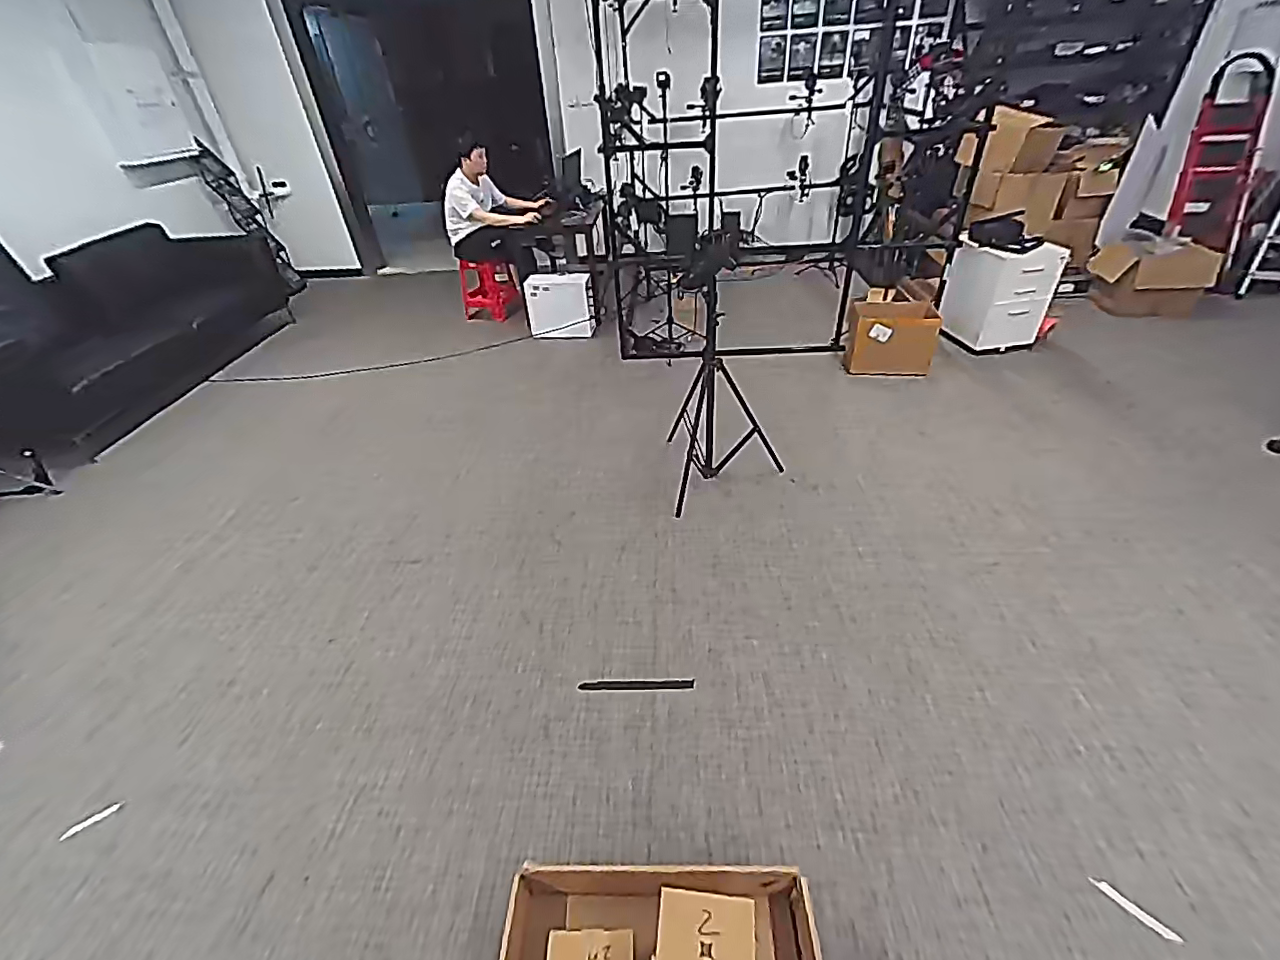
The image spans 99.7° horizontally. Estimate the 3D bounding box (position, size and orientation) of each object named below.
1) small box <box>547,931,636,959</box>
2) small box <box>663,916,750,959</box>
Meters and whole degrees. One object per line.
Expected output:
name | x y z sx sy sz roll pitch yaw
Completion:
small box | -0.091 0.993 1.030 0.168 0.176 0.179 -1 37 0
small box | 0.126 0.978 1.036 0.168 0.176 0.179 -1 38 8
